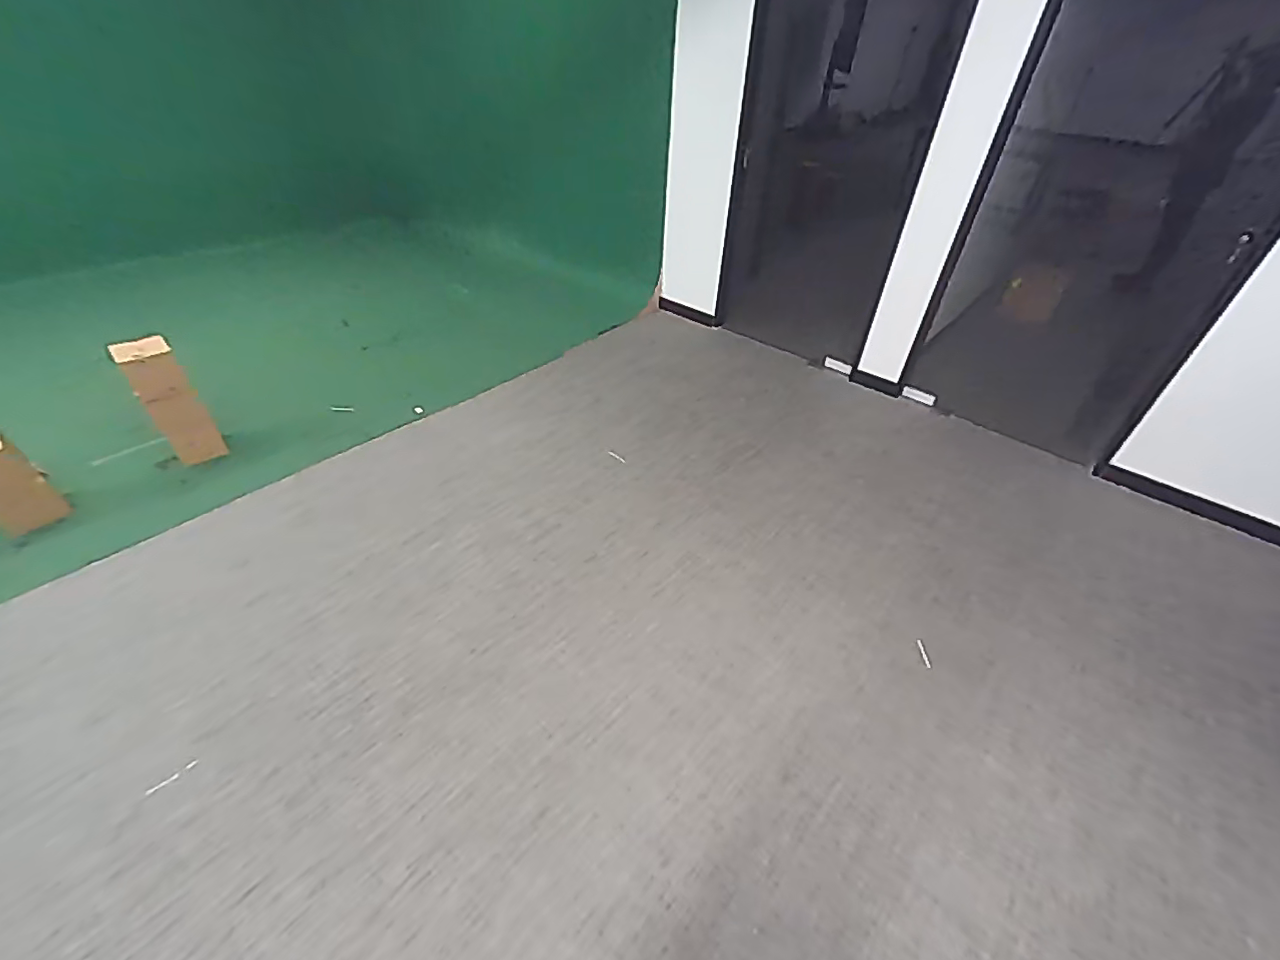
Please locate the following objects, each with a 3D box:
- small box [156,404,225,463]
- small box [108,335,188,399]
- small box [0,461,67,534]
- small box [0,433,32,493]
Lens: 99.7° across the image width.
[{"bbox_3d":[-1.914,-0.192,2.308,0.168,0.176,0.179,-27,49,-32],"label":"small box"},{"bbox_3d":[-1.894,-0.434,2.086,0.168,0.176,0.179,-30,50,-35],"label":"small box"},{"bbox_3d":[-2.273,0.066,1.974,0.168,0.176,0.179,32,48,28],"label":"small box"},{"bbox_3d":[-2.273,-0.050,1.861,0.168,0.176,0.179,34,48,29],"label":"small box"}]
